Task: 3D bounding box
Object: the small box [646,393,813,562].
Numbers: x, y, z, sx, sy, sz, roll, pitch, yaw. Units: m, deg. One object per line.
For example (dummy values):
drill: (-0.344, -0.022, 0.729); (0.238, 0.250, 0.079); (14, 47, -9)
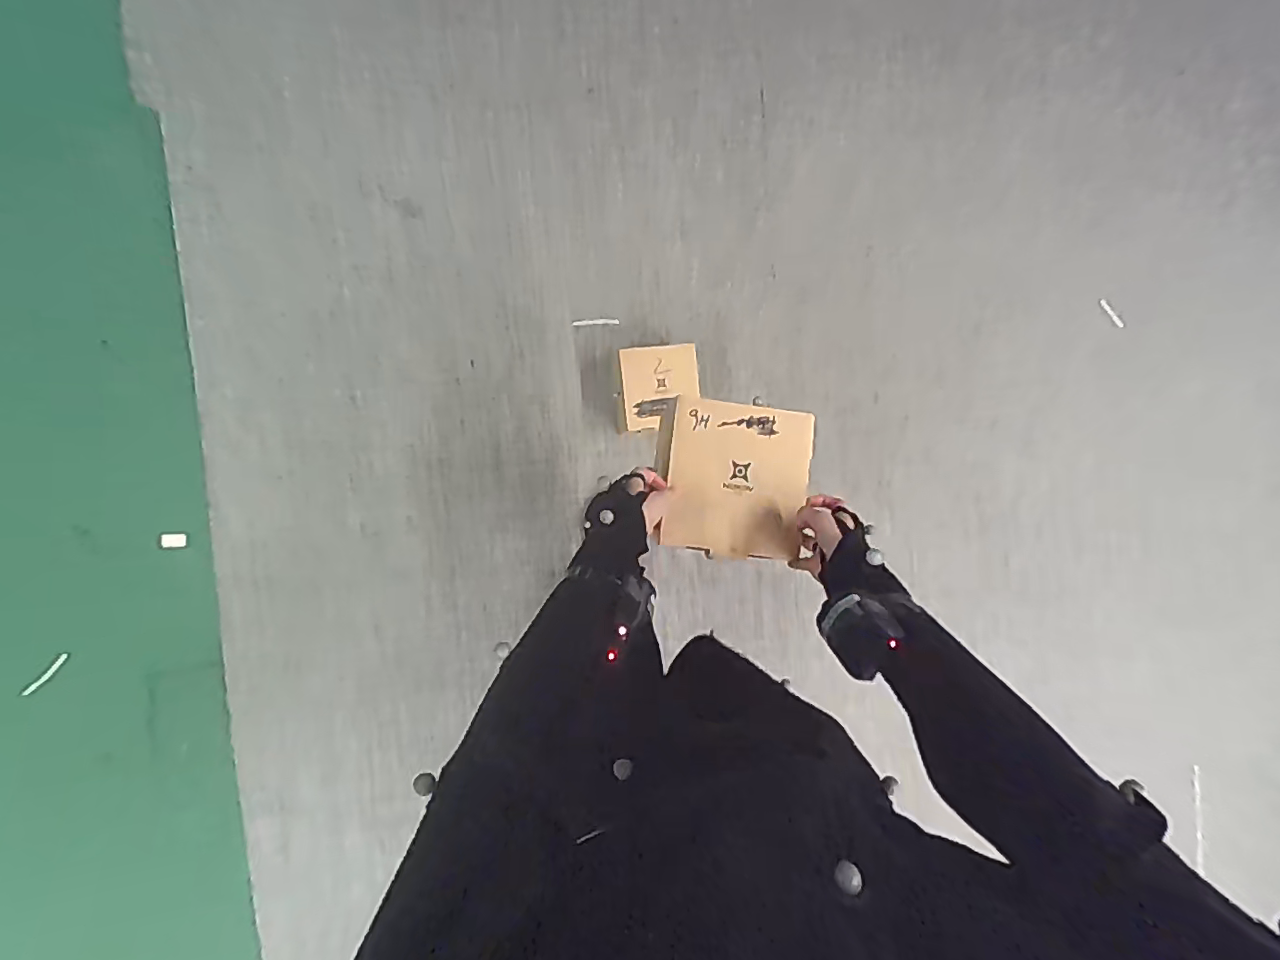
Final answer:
small box: (0.103, -0.002, 0.697); (0.168, 0.176, 0.179); (8, 88, -5)
